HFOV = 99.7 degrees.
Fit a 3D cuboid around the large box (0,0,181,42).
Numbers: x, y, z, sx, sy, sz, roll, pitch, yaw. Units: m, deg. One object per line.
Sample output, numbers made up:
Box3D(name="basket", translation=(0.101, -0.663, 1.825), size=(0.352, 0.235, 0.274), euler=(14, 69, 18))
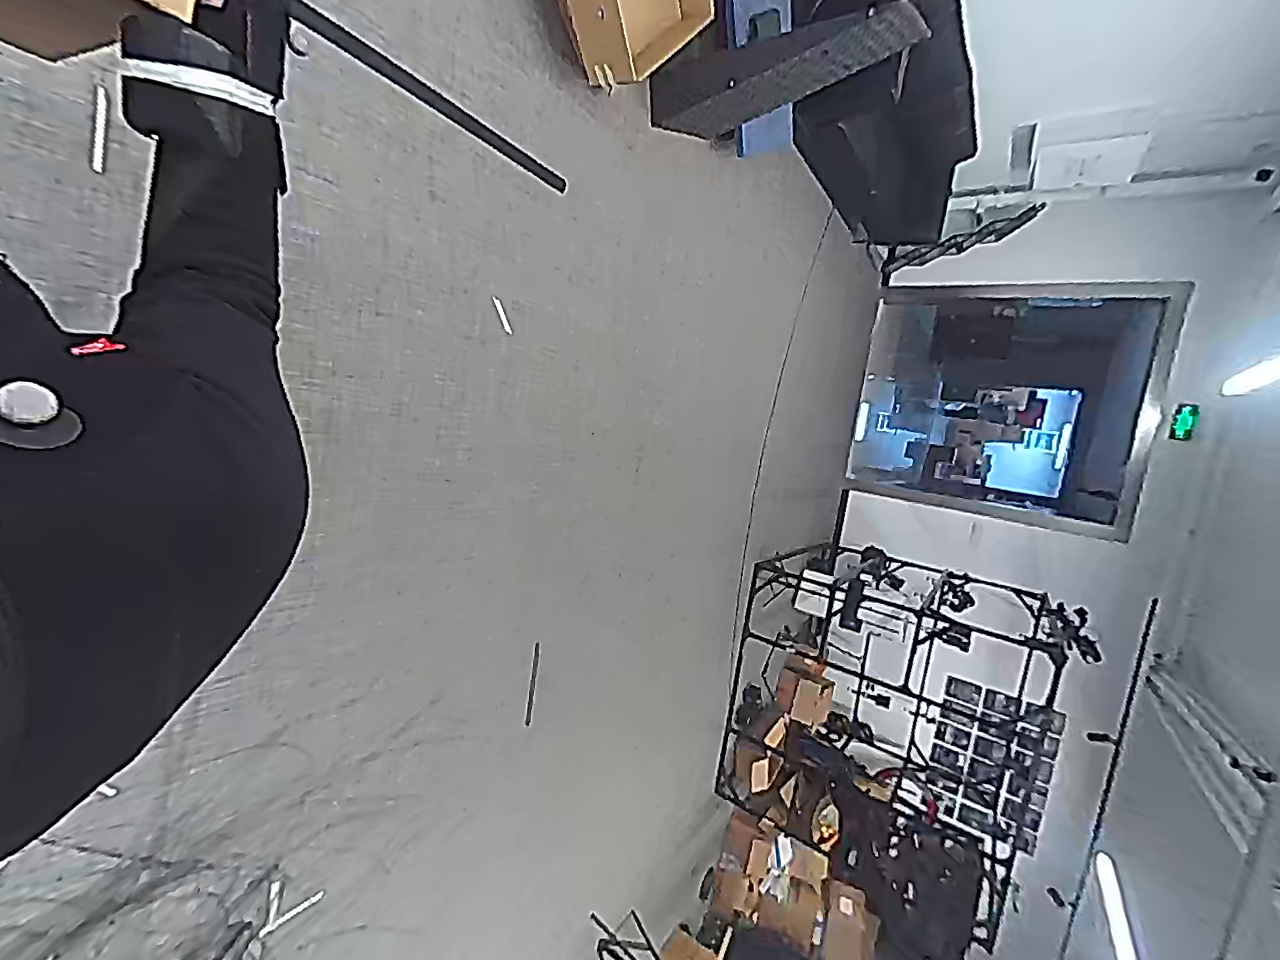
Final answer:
Box3D(name="large box", translation=(-0.473, -0.473, 0.211), size=(0.408, 0.320, 0.320), euler=(-4, 113, -59))
